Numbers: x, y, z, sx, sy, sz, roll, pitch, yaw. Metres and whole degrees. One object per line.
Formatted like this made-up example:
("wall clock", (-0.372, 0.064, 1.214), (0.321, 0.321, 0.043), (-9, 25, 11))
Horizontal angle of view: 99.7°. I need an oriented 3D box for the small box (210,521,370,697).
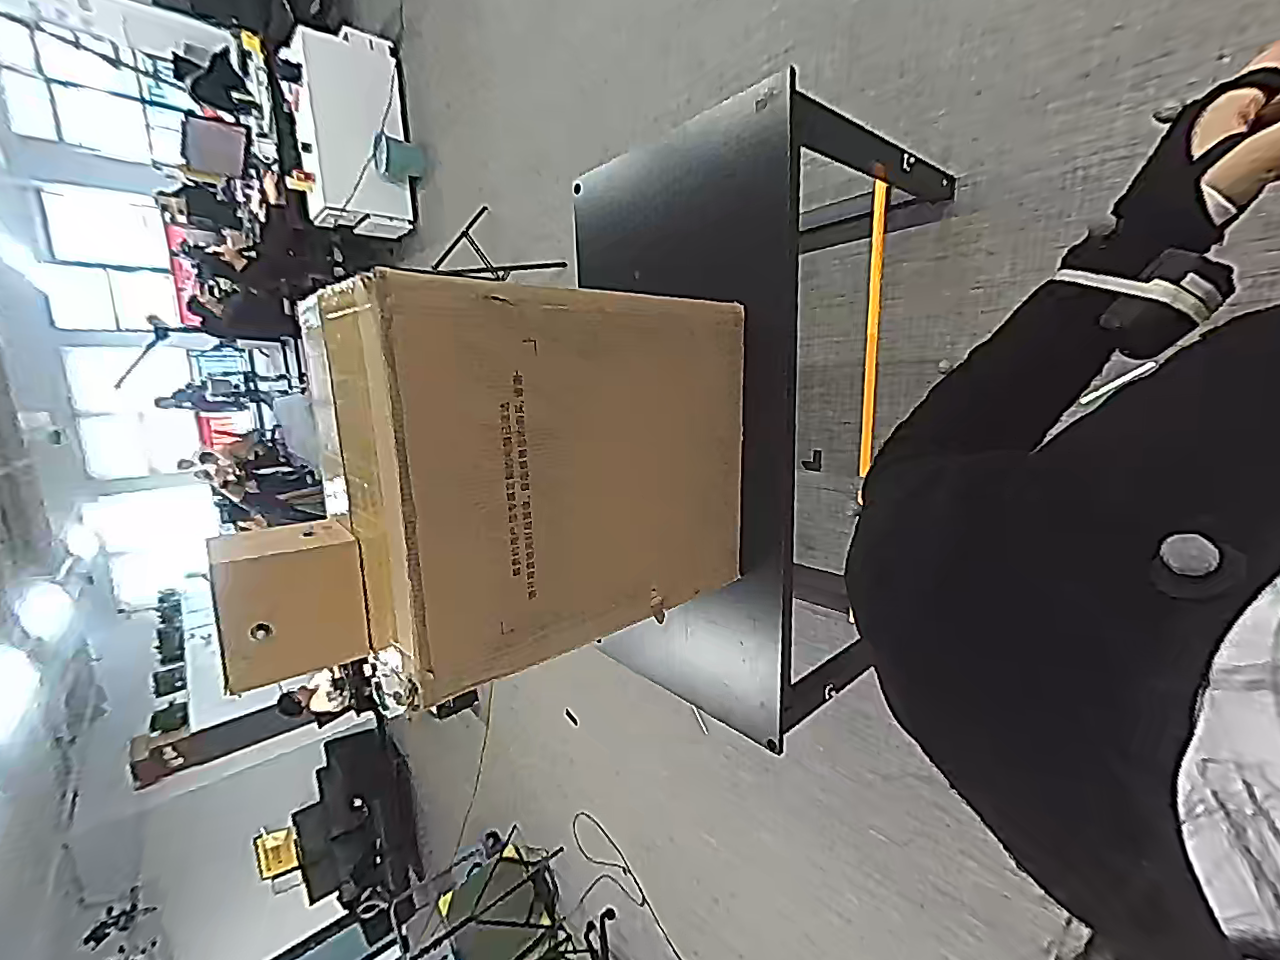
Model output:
("small box", (-0.498, 0.169, 0.774), (0.168, 0.176, 0.179), (11, 105, 50))
